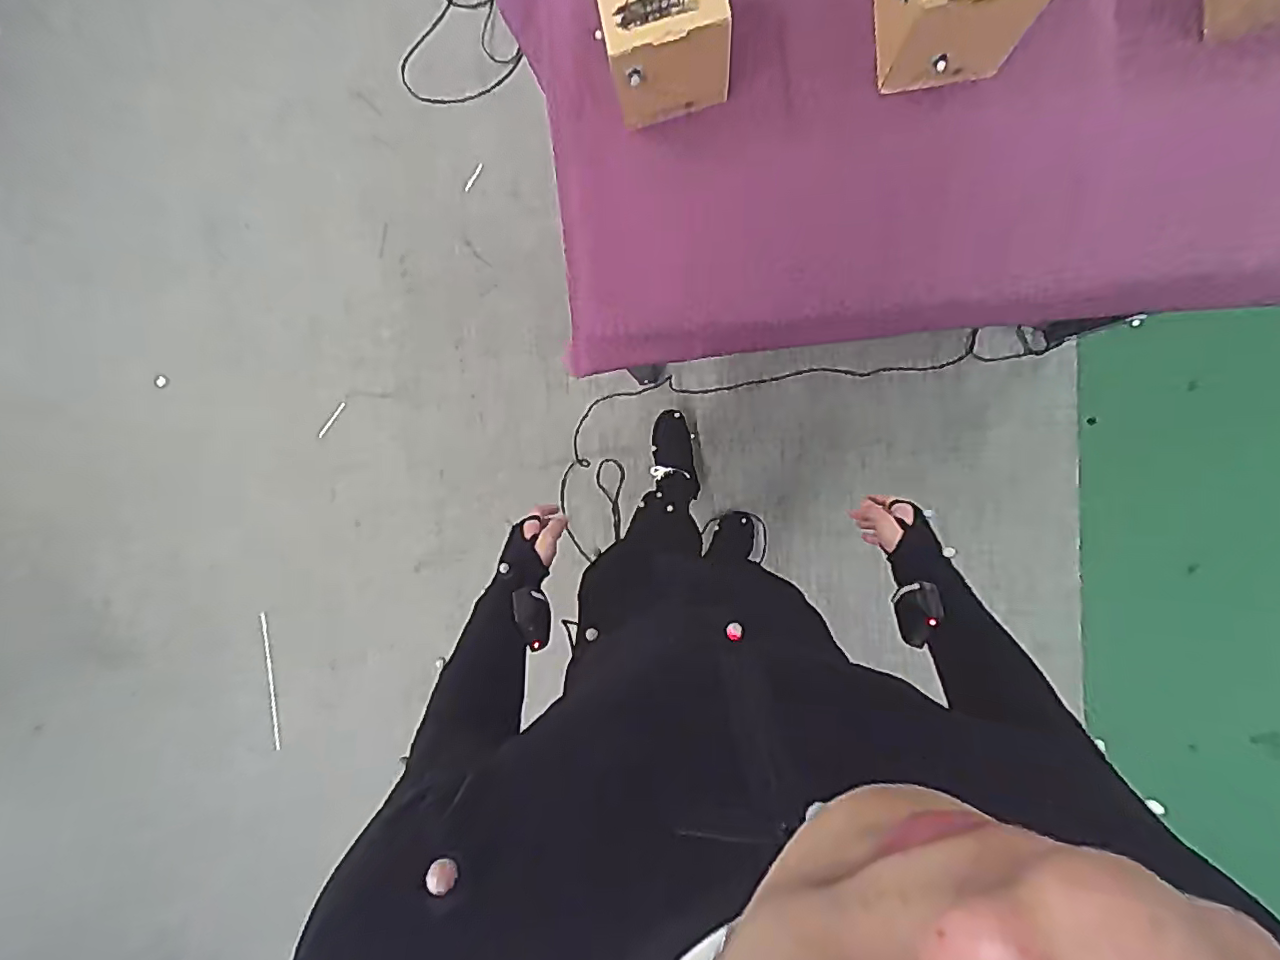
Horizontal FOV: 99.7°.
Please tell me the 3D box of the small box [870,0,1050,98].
[{"bbox_3d":[0.426,-0.673,0.739,0.168,0.176,0.179,-4,93,6],"label":"small box"}]
